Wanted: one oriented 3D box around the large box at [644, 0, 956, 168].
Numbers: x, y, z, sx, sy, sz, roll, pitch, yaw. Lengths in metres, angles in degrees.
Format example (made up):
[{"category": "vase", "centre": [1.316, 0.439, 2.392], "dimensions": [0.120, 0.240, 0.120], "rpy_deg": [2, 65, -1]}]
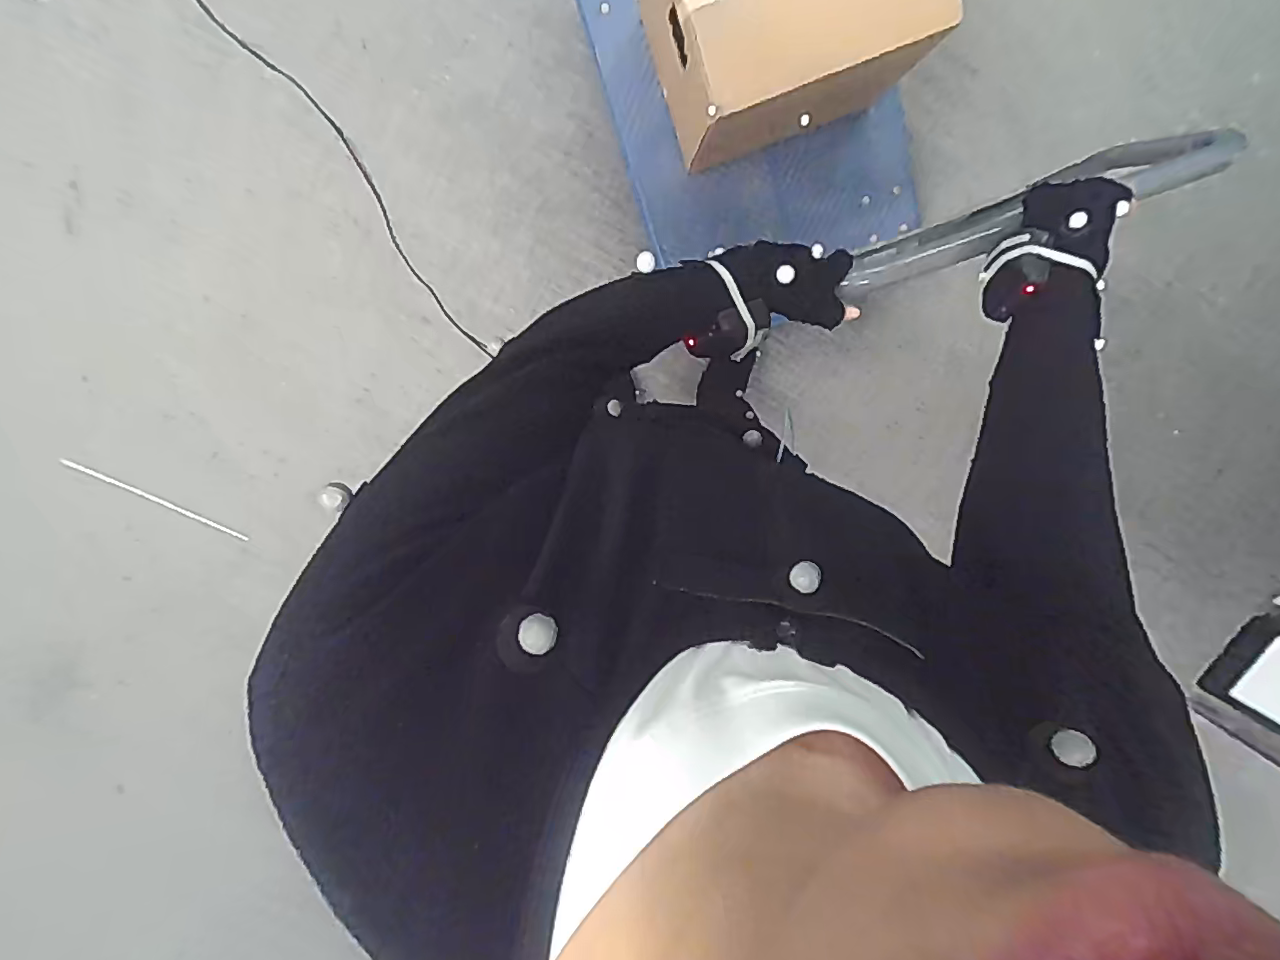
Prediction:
[{"category": "large box", "centre": [0.249, -0.820, 0.952], "dimensions": [0.408, 0.320, 0.320], "rpy_deg": [-20, 105, 3]}]
